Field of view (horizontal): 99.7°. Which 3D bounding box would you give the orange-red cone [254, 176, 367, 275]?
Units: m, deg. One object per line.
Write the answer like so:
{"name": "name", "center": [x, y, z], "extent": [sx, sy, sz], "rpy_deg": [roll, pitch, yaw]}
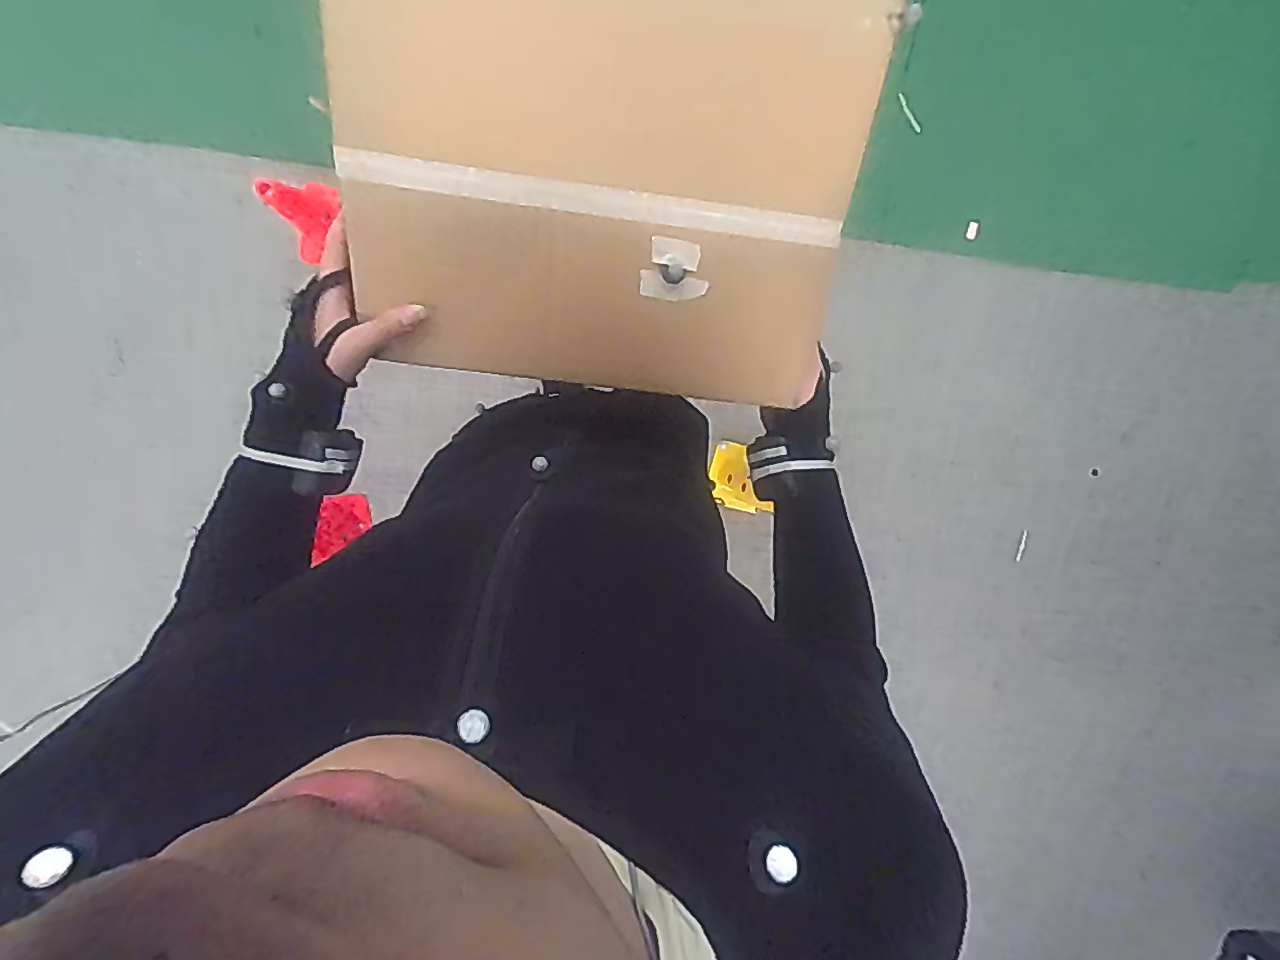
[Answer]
{"name": "orange-red cone", "center": [-0.769, -0.621, 1.251], "extent": [0.199, 0.360, 0.198], "rpy_deg": [12, 100, -7]}

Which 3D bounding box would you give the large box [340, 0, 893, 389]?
{"name": "large box", "center": [-0.036, -0.307, 0.575], "extent": [0.408, 0.320, 0.320], "rpy_deg": [6, 118, -6]}
